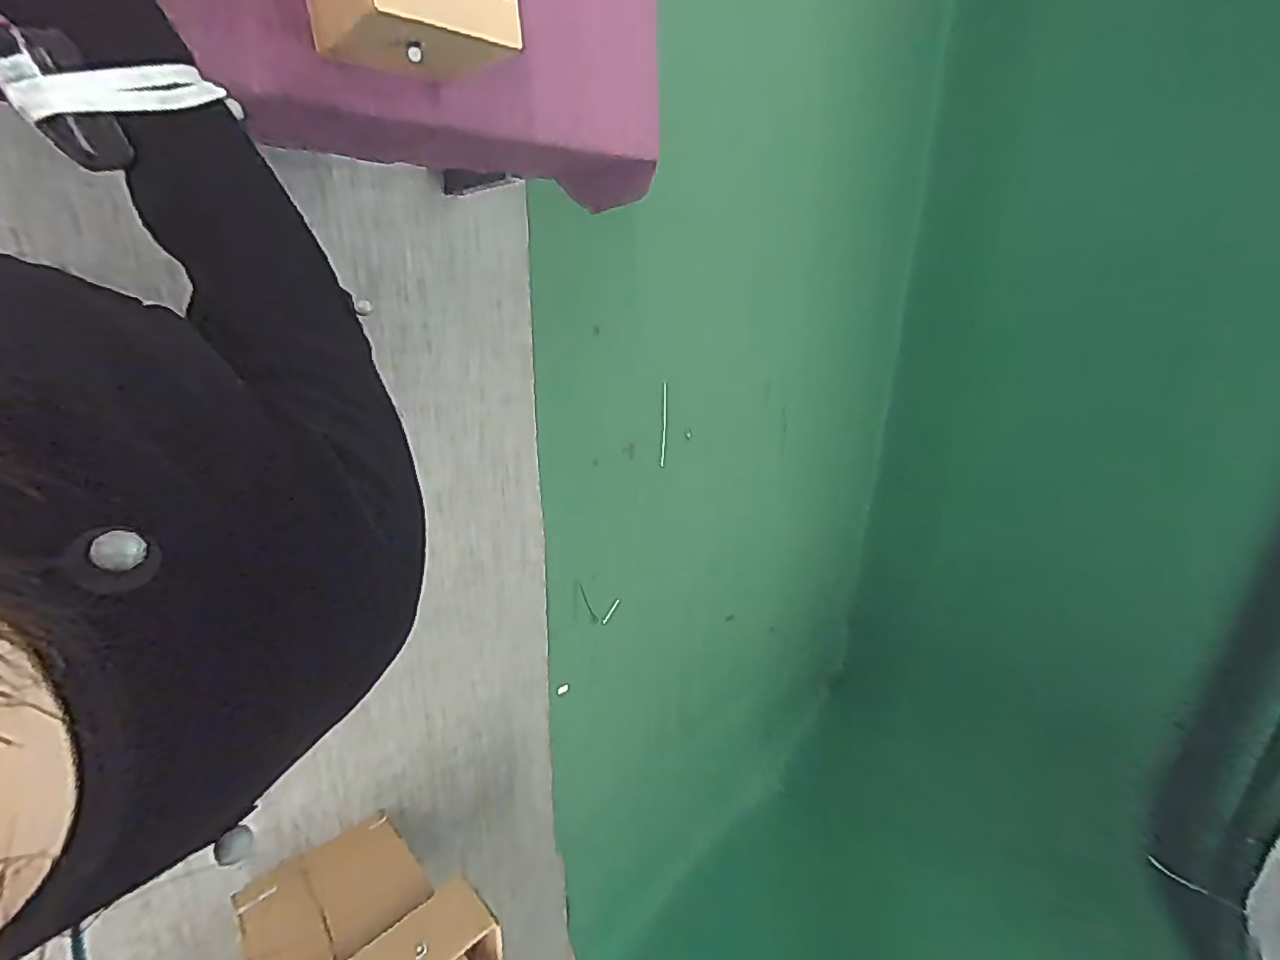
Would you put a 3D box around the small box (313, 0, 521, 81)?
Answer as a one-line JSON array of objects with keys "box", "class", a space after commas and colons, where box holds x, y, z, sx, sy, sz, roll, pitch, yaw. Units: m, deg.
[{"box": [-0.259, -0.572, 0.599, 0.179, 0.176, 0.168, -22, 119, -40], "class": "small box"}]
